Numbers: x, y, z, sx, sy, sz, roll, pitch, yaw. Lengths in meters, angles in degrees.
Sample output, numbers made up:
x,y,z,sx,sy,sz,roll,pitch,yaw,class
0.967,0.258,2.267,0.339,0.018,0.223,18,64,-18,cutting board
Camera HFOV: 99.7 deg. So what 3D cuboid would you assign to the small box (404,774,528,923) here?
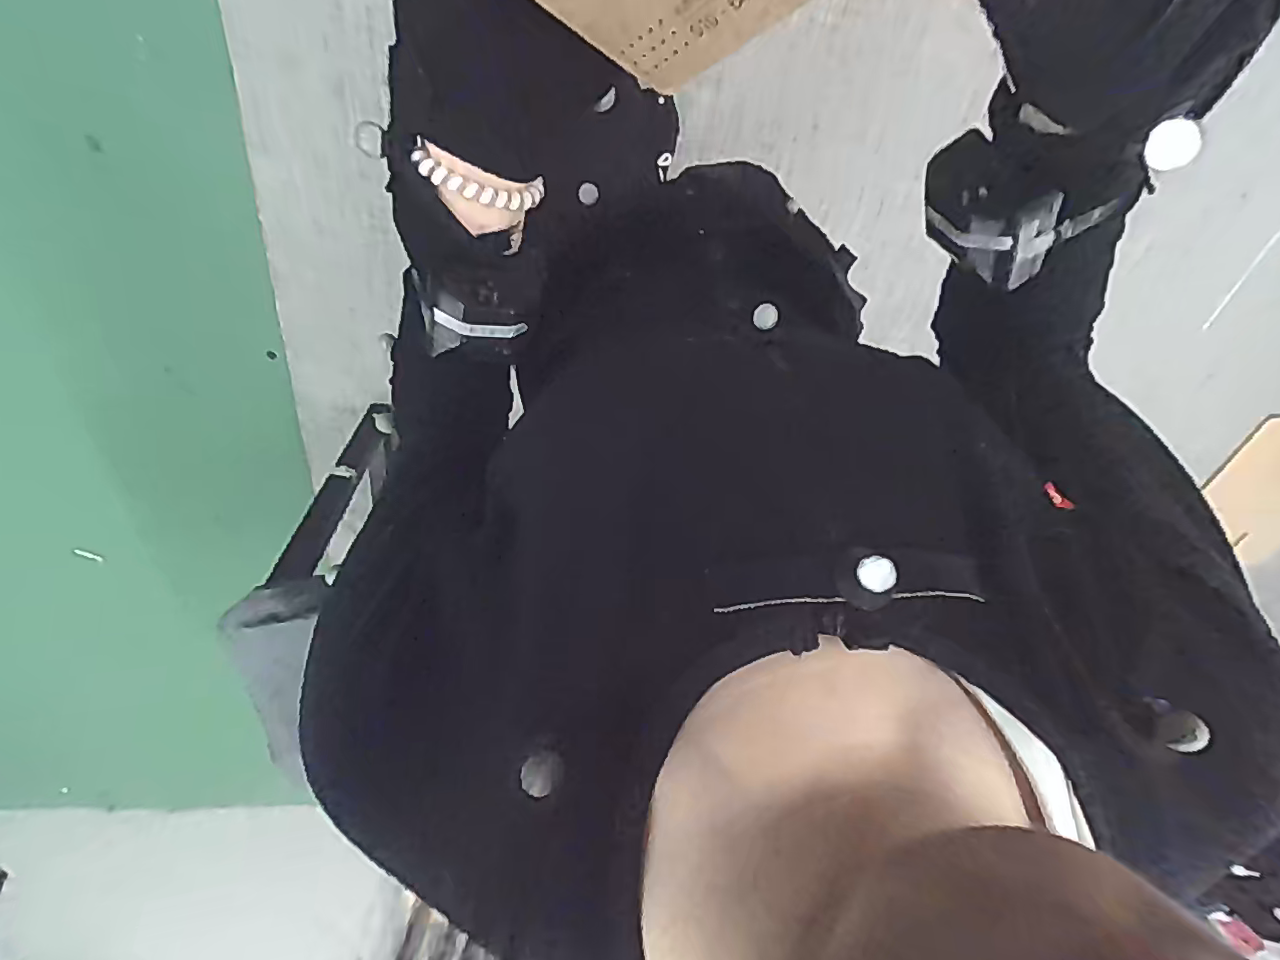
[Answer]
x,y,z,sx,sy,sz,roll,pitch,yaw,class
-0.283,0.620,0.921,0.179,0.176,0.168,3,127,-9,small box
